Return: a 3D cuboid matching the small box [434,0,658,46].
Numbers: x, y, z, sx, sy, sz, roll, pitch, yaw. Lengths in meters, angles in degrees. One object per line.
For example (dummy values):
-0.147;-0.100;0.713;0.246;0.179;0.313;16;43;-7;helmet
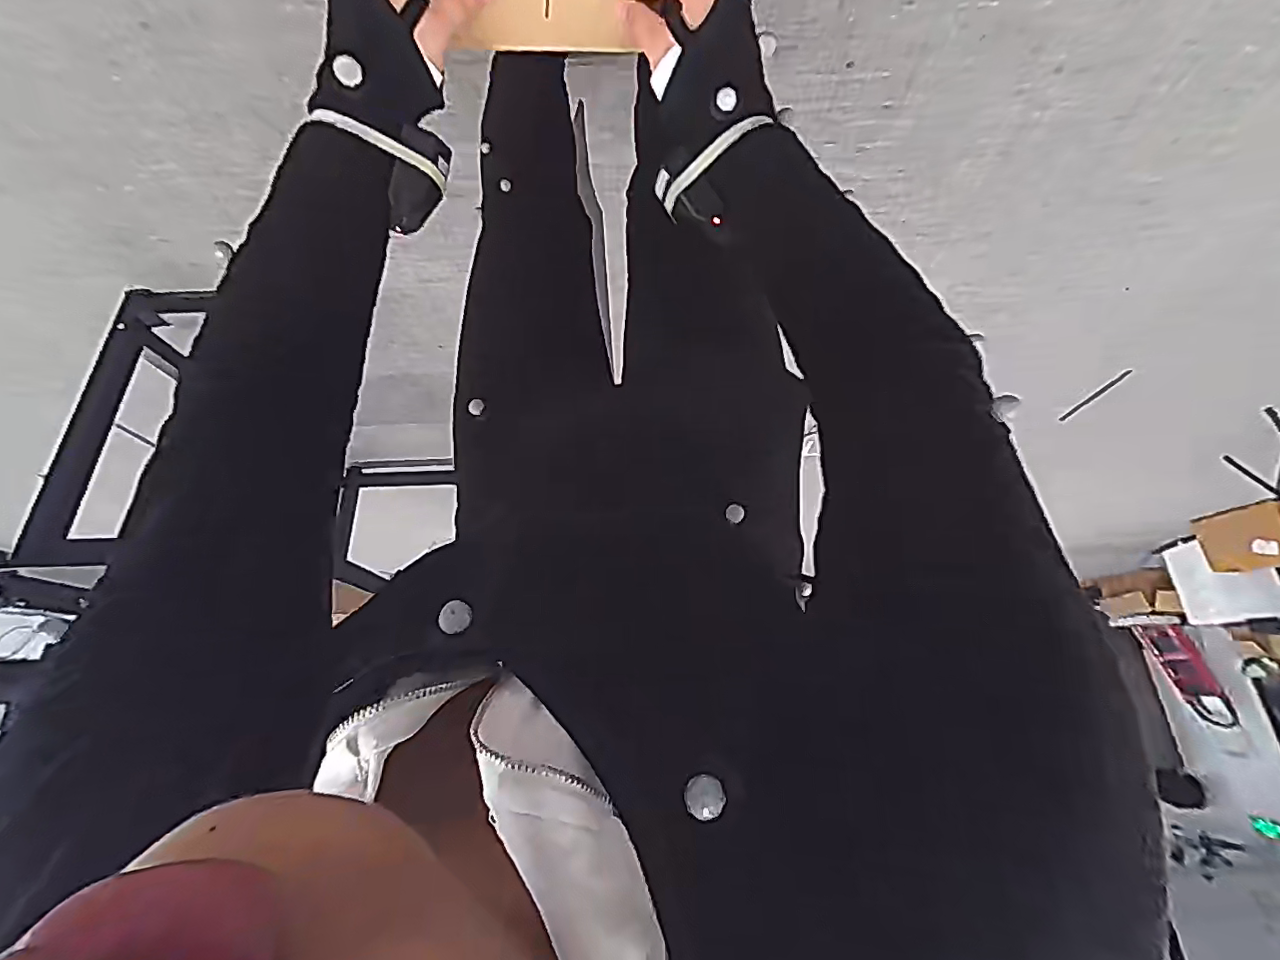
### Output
-0.070;-0.448;0.372;0.168;0.176;0.179;-3;155;-6;small box
